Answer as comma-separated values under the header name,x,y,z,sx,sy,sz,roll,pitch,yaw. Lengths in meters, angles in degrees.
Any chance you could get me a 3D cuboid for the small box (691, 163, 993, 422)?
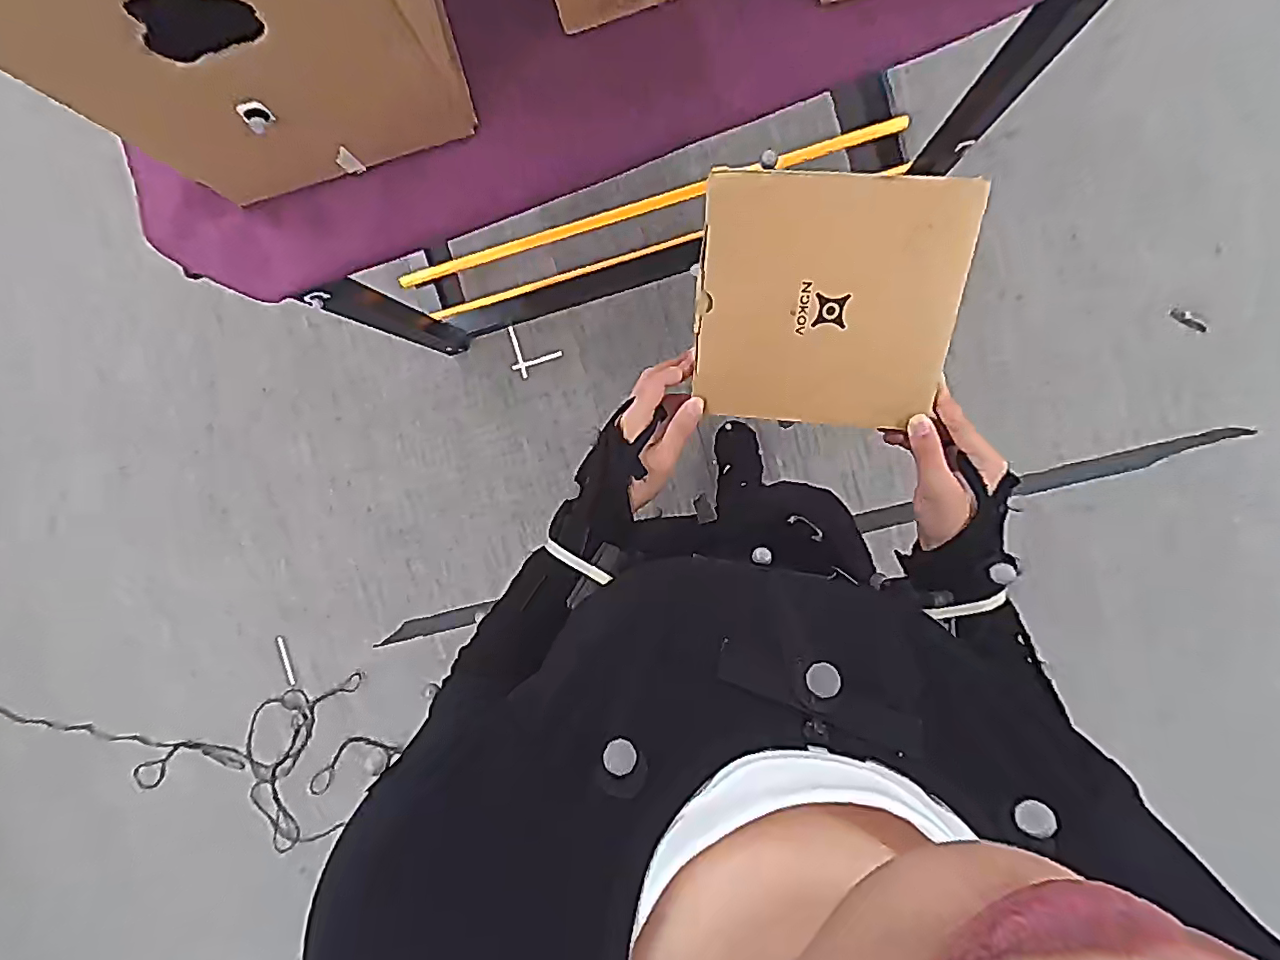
name,x,y,z,sx,sy,sz,roll,pitch,yaw
small box,0.139,-0.157,0.444,0.179,0.176,0.168,5,115,7
